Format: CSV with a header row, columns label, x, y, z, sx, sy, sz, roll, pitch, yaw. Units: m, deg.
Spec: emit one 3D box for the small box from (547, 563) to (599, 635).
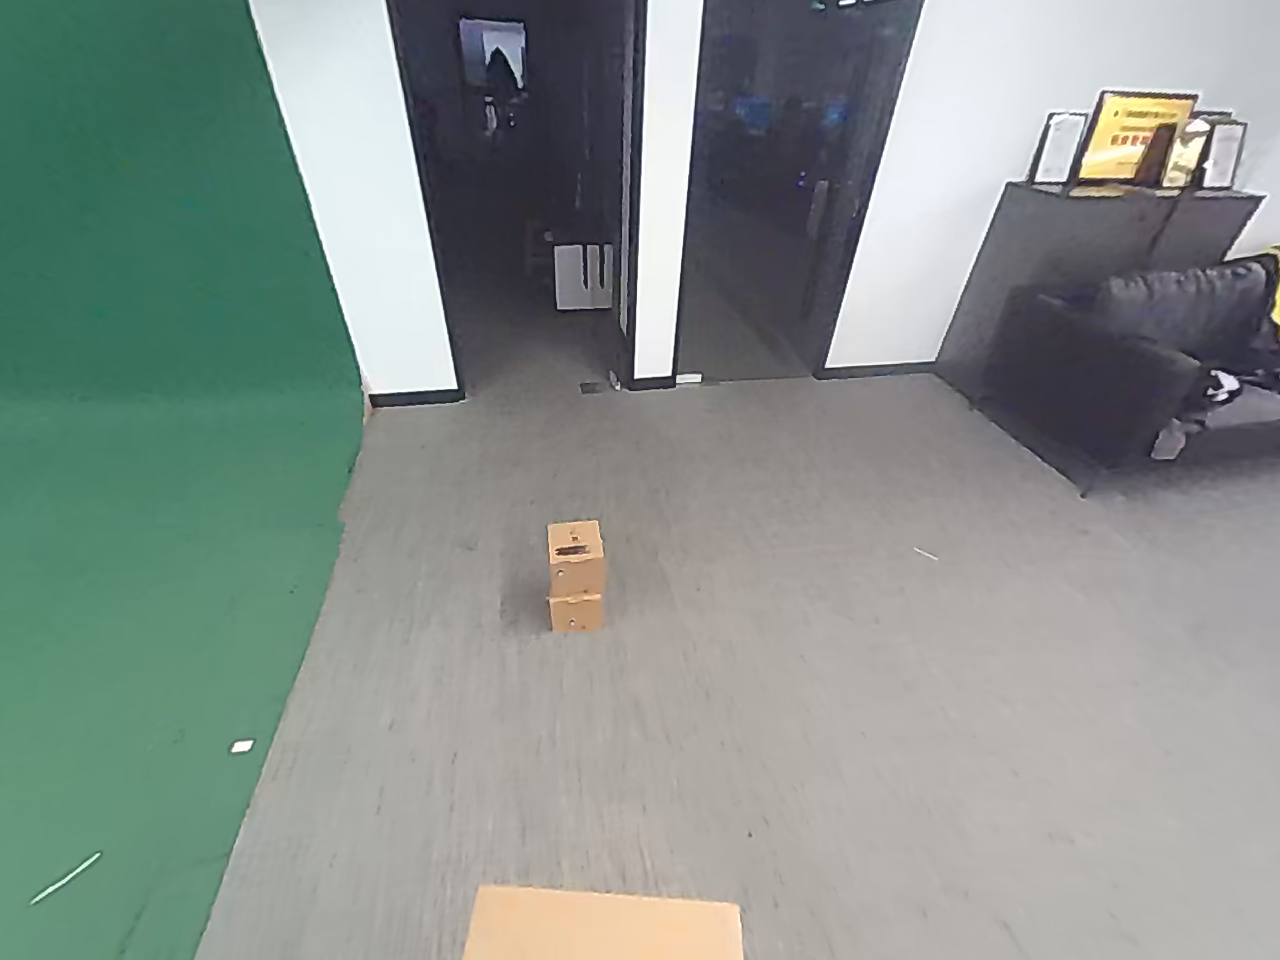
label,x,y,z,sx,sy,sz,roll,pitch,yaw
small box,-0.227,0.403,1.841,0.168,0.176,0.179,-1,38,-7
